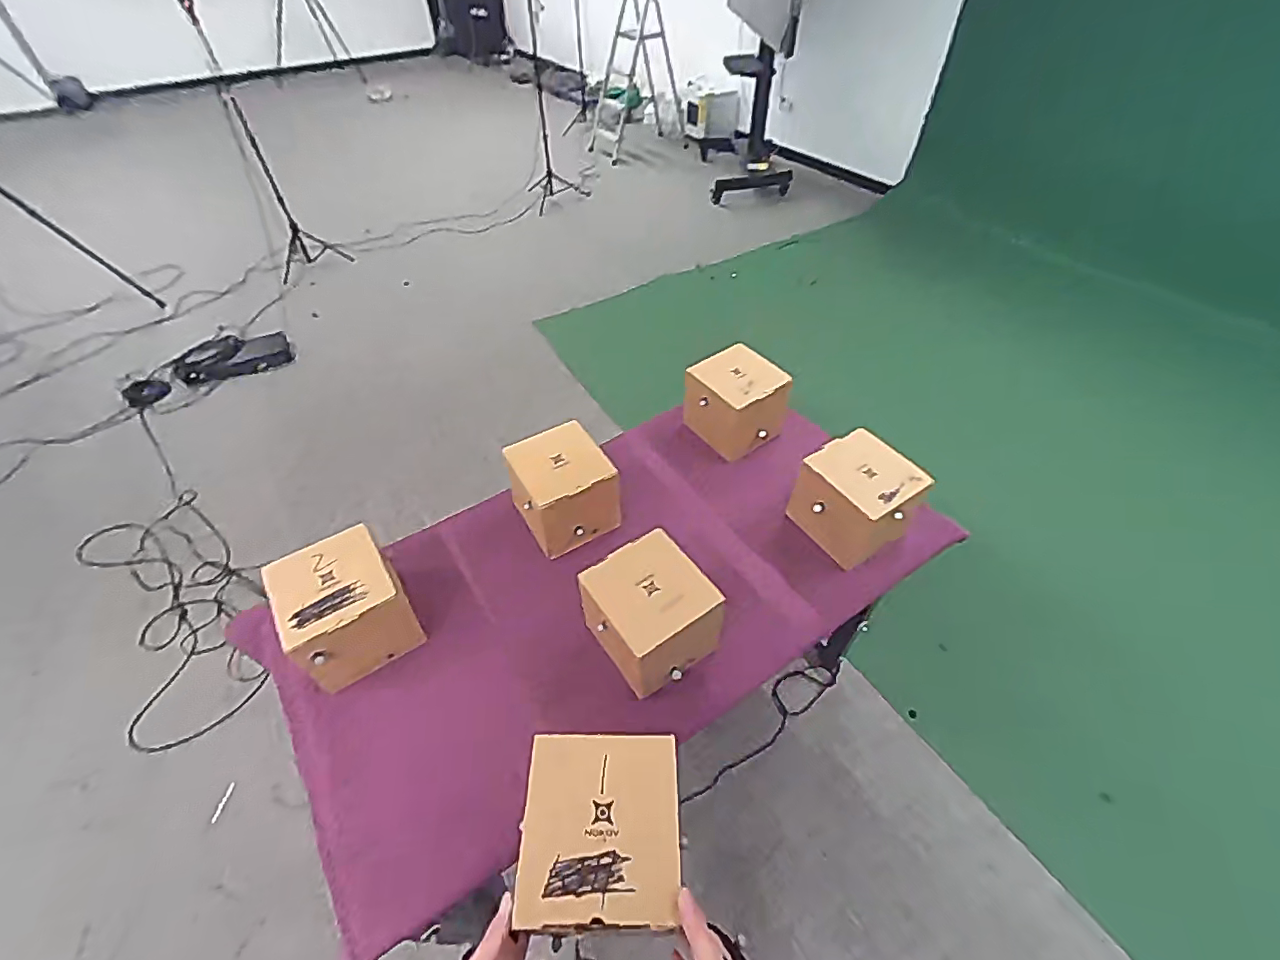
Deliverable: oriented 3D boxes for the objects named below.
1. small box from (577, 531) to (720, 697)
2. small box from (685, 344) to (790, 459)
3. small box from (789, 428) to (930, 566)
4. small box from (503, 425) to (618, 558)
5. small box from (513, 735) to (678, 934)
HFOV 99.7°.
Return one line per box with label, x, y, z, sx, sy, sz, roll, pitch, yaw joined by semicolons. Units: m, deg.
small box;0.014;0.226;0.909;0.168;0.176;0.179;-29;52;-20
small box;0.218;-0.181;1.259;0.168;0.176;0.179;-31;54;-19
small box;0.415;0.034;1.057;0.168;0.176;0.179;-28;53;-19
small box;-0.158;0.024;1.100;0.168;0.176;0.179;-26;54;-20
small box;-0.040;0.419;0.637;0.168;0.176;0.179;1;48;0
